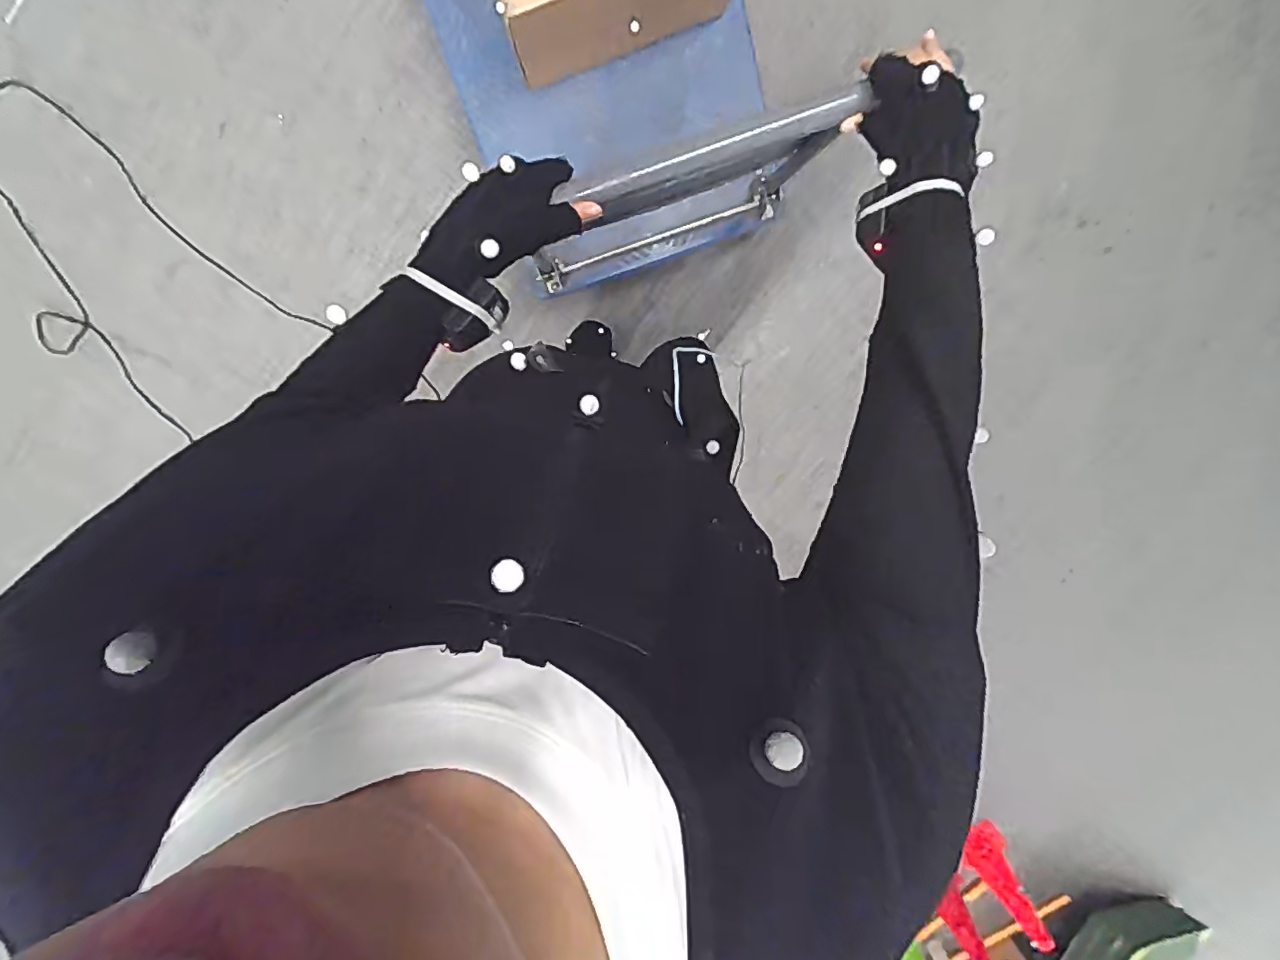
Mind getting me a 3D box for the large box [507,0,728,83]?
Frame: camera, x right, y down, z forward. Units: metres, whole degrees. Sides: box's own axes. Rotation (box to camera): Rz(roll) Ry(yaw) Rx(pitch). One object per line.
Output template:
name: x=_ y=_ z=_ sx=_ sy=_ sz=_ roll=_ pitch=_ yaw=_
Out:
large box: x=-0.054 y=-0.923 z=0.858 sx=0.408 sy=0.320 sz=0.320 roll=-20 pitch=109 yaw=3
